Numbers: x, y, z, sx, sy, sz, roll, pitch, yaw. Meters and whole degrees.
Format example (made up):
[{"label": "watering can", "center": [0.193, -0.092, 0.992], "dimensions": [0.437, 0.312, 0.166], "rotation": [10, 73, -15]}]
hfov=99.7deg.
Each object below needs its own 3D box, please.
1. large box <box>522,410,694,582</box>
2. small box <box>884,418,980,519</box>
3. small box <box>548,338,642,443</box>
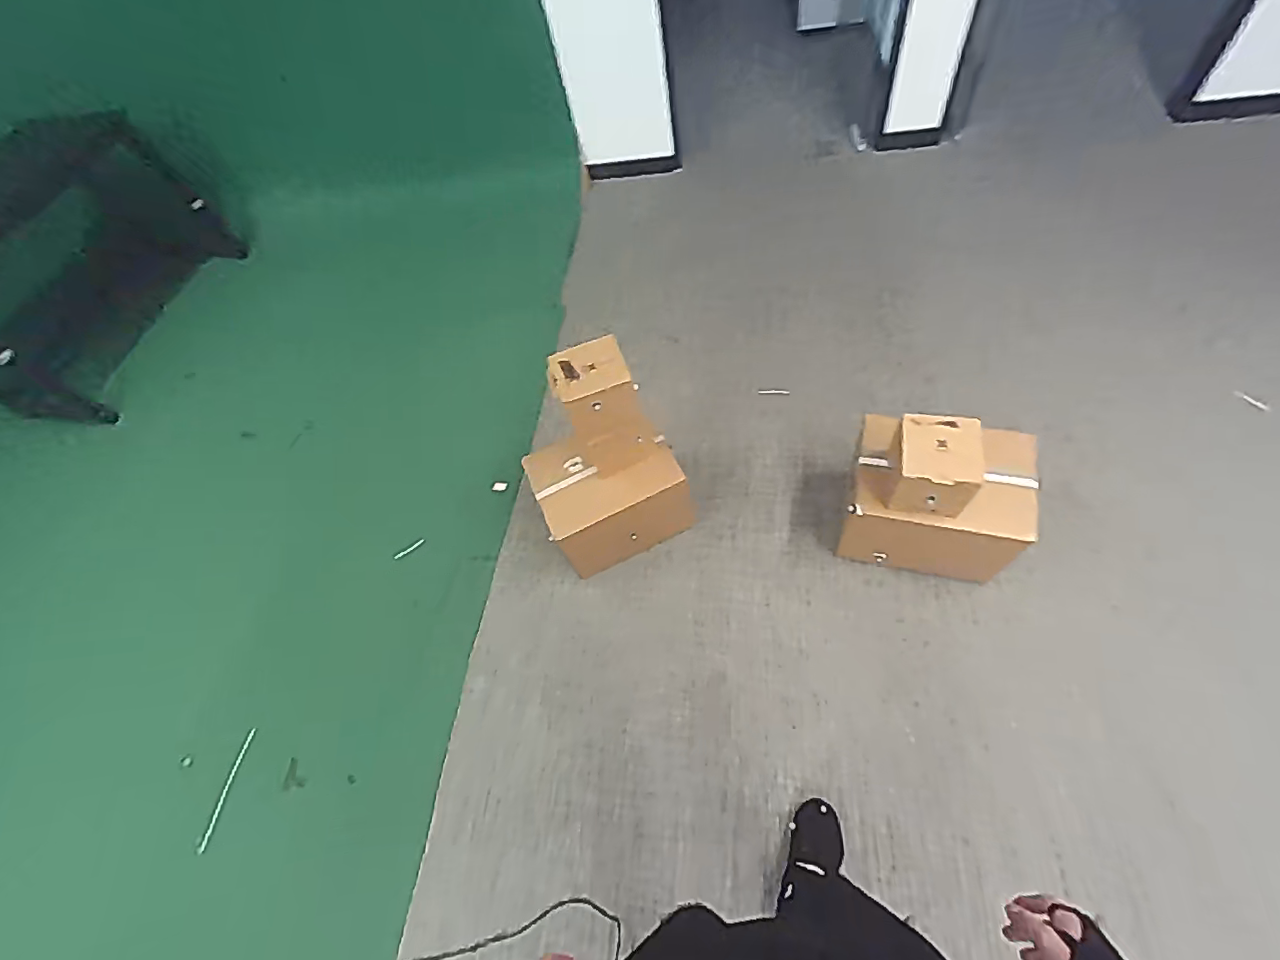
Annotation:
[{"label": "large box", "center": [-0.087, 0.054, 1.675], "dimensions": [0.408, 0.320, 0.320], "rotation": [-26, 58, -4]}, {"label": "small box", "center": [0.688, -0.023, 1.286], "dimensions": [0.168, 0.176, 0.179], "rotation": [8, 63, 14]}, {"label": "small box", "center": [-0.109, -0.219, 1.358], "dimensions": [0.179, 0.176, 0.168], "rotation": [-20, 58, -2]}]
